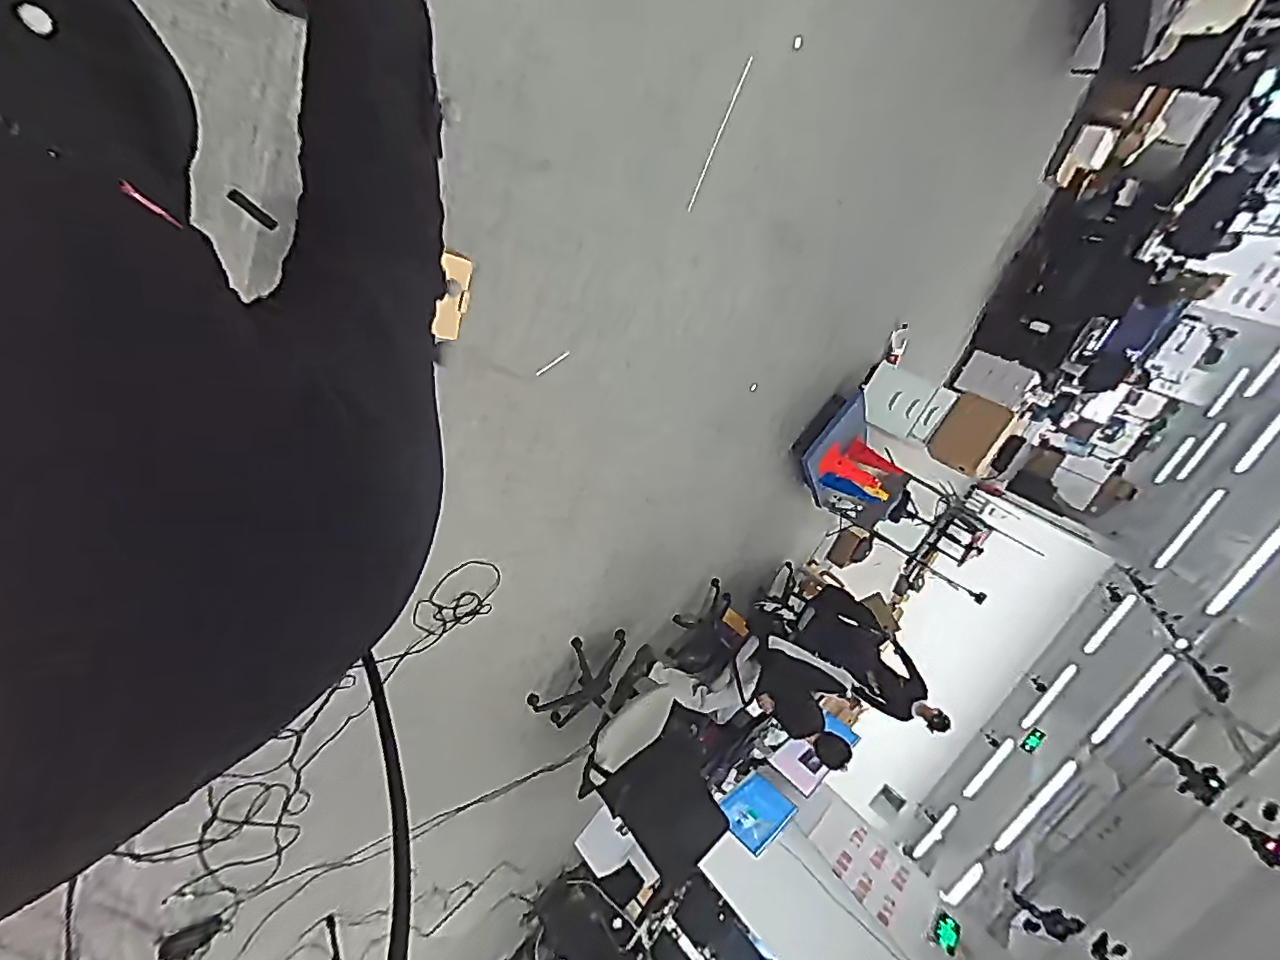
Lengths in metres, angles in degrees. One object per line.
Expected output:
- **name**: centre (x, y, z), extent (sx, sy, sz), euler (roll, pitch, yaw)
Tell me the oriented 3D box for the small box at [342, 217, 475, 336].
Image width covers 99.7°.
- **small box**: centre (-0.467, -0.407, 1.085), extent (0.179, 0.176, 0.168), euler (-4, 122, -49)
